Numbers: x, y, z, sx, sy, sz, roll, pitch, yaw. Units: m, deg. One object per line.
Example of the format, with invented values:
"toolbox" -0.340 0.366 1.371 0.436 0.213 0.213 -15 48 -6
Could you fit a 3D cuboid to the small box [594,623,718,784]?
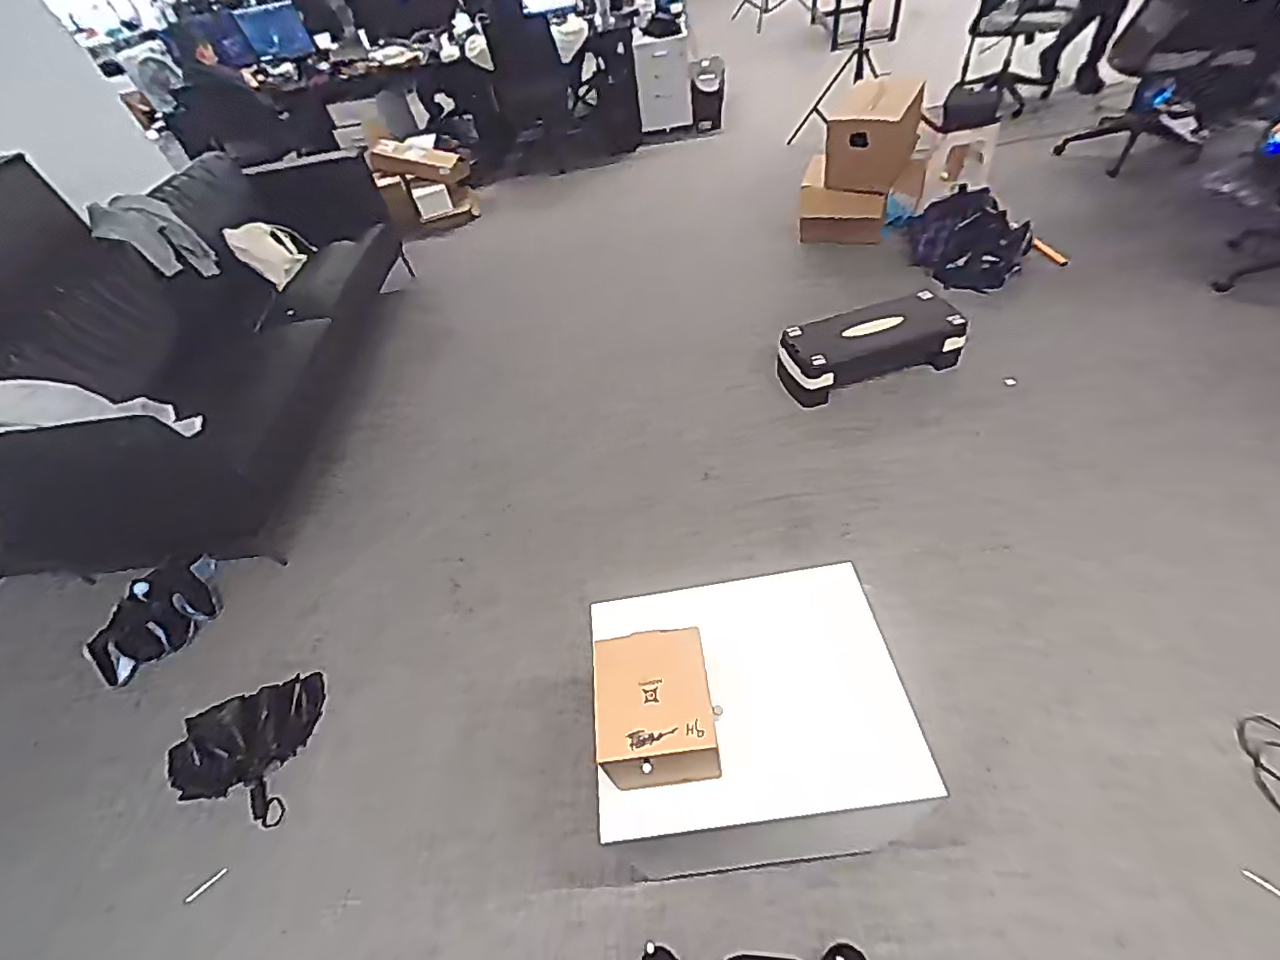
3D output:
"small box" 0.026 0.346 0.833 0.168 0.176 0.179 -9 48 4
